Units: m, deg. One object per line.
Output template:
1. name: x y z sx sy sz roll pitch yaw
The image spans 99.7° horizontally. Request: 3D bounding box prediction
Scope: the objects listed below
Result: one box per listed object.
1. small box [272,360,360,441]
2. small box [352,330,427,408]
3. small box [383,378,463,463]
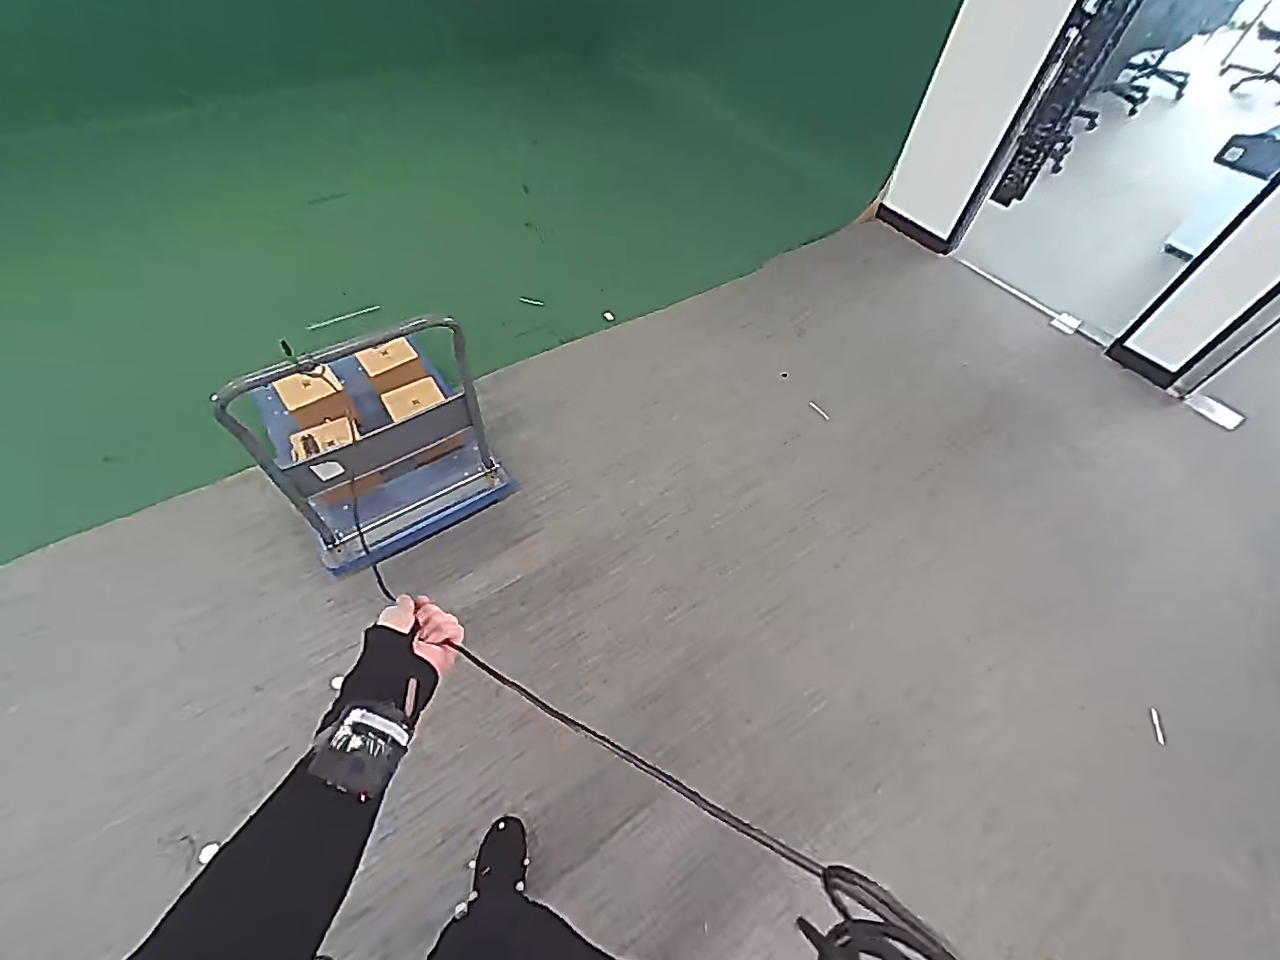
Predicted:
1. small box: -1.040 -0.250 1.749 0.168 0.176 0.179 -32 62 -24
2. small box: -0.845 -0.374 1.849 0.168 0.176 0.179 -32 64 -23
3. small box: -0.690 -0.188 1.729 0.168 0.176 0.179 -28 62 -21
